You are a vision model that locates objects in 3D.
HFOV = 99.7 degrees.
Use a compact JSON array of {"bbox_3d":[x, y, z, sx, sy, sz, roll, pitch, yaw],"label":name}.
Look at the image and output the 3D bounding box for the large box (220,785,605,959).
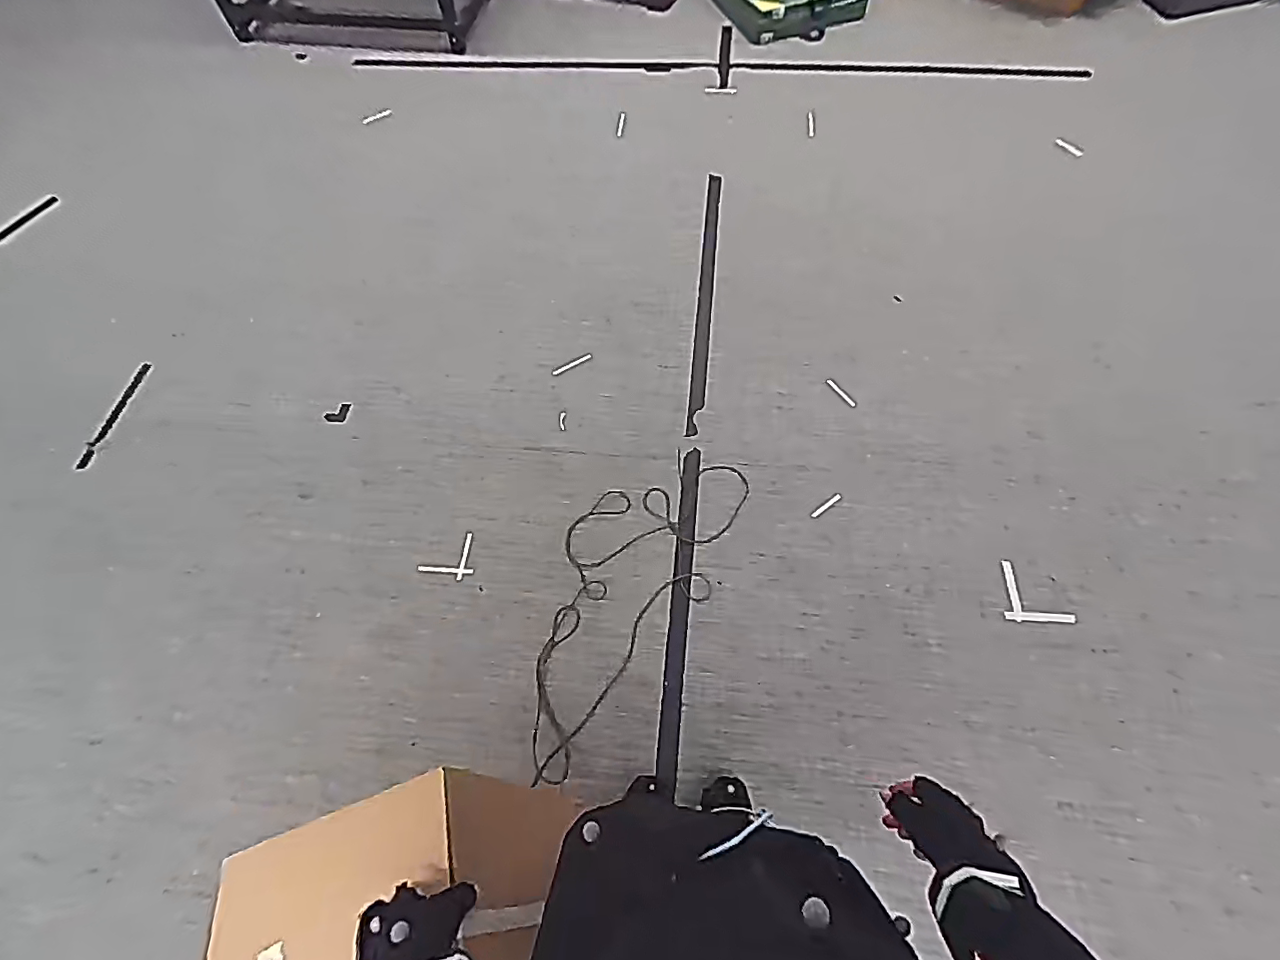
[{"bbox_3d":[-0.268,0.648,0.719,0.320,0.408,0.320,-23,51,3],"label":"large box"}]
